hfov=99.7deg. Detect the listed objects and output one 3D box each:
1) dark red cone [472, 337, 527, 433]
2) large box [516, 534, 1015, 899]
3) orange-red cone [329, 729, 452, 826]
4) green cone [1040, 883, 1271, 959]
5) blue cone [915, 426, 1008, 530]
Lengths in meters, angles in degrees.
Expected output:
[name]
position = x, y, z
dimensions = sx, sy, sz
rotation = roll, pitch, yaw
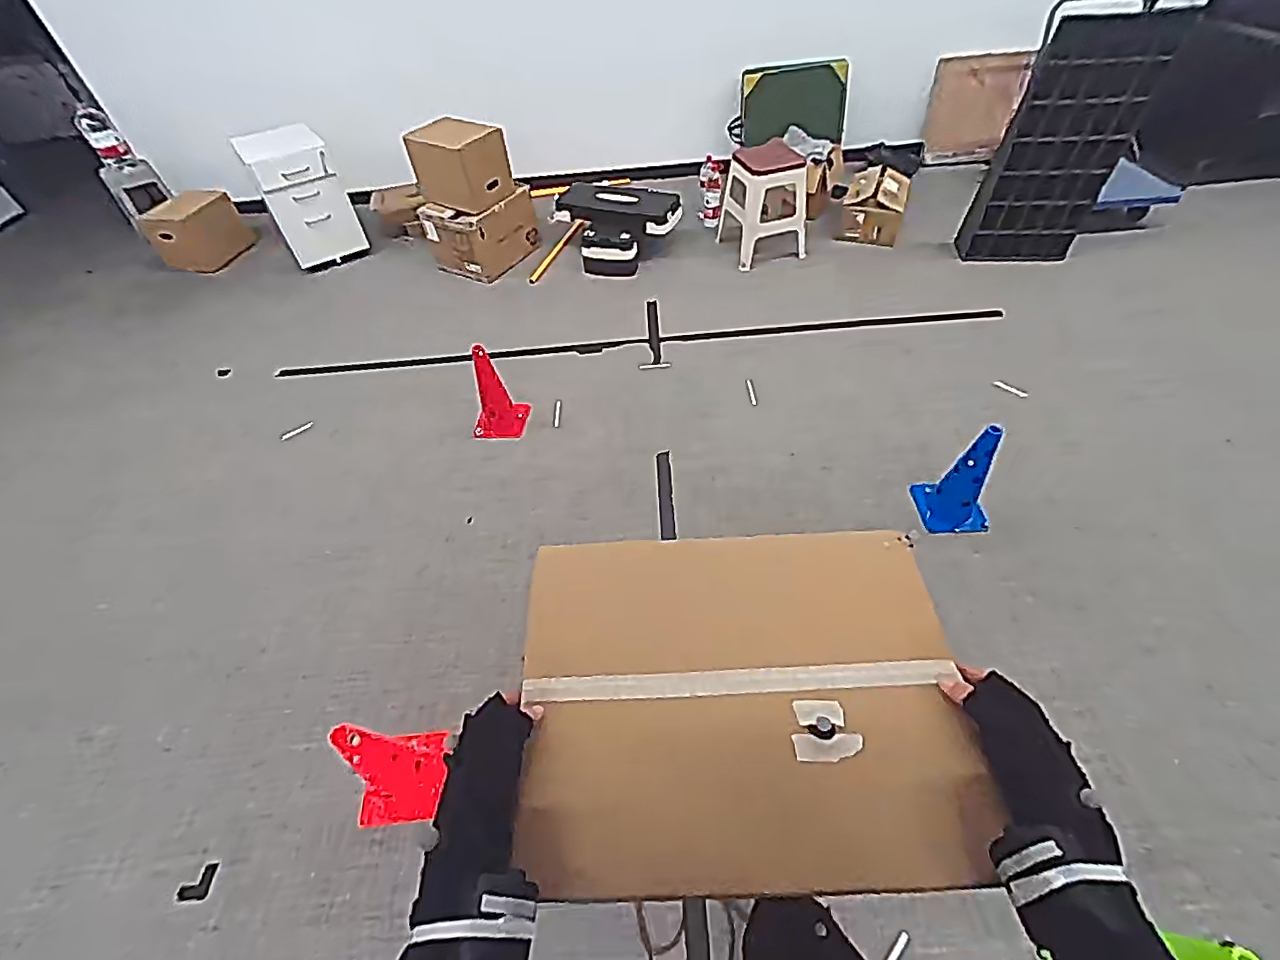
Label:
[dark red cone]
position = -0.570, -0.364, 2.052
dimensions = 0.201, 0.394, 0.202
rotation = 1, 49, 4
[large box]
position = 0.098, 0.283, 0.631
dimensions = 0.408, 0.320, 0.320
rotation = -3, 52, 1
[orange-red cone]
position = -0.589, 0.633, 1.217
dimensions = 0.198, 0.360, 0.199
rotation = -7, 50, 0
[green cone]
position = 0.906, 0.825, 0.916
dimensions = 0.202, 0.368, 0.200
rotation = -33, 55, -24
[blue cone]
position = 1.017, -0.018, 1.663
dimensions = 0.192, 0.380, 0.193
rotation = -1, 49, 3
